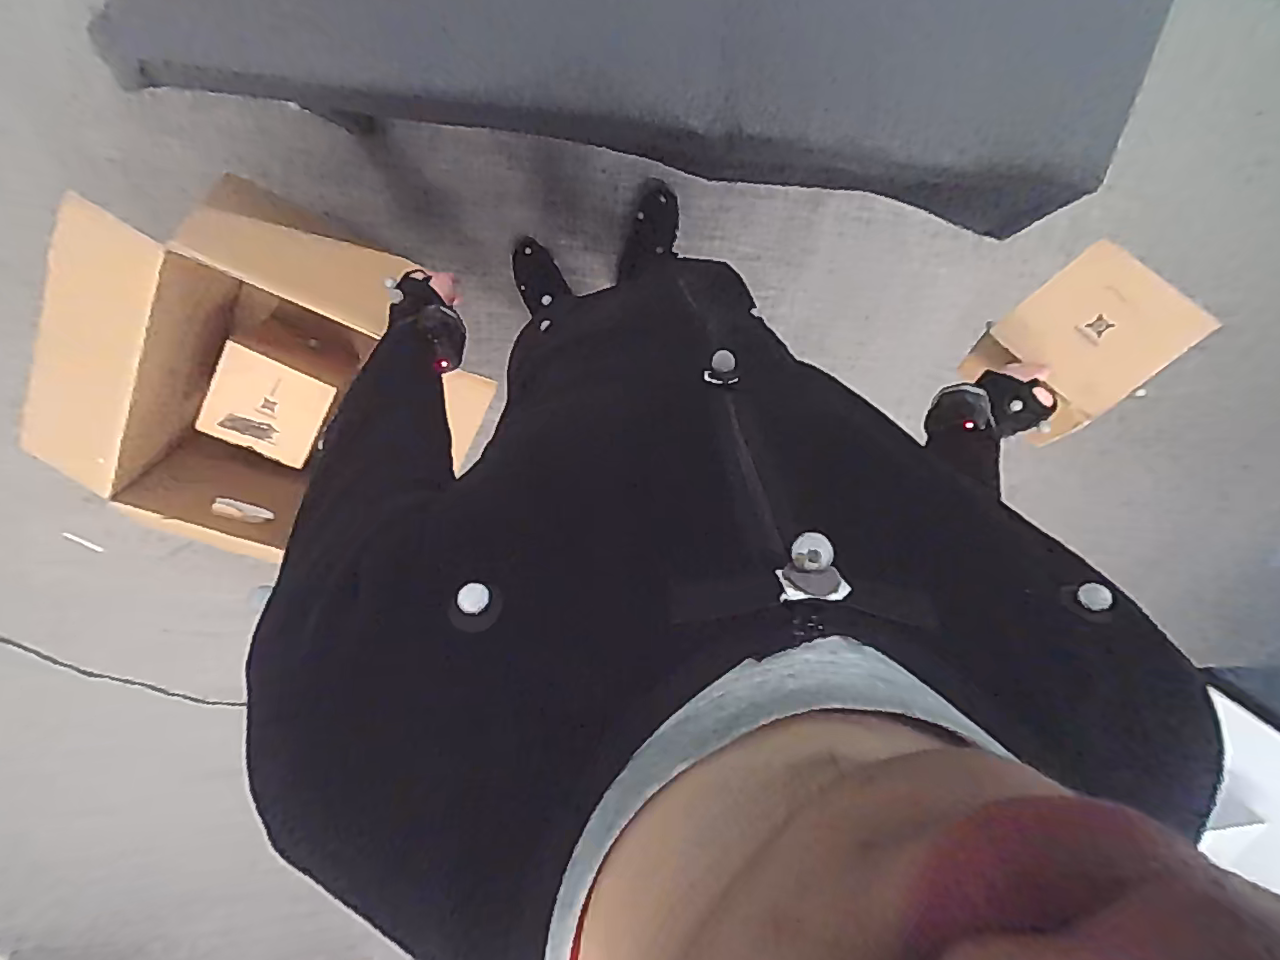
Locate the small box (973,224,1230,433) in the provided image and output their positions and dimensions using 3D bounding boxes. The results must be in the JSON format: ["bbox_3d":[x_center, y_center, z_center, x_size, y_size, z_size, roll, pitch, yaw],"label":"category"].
[{"bbox_3d":[0.582,-0.185,0.720,0.179,0.176,0.168,-41,73,9],"label":"small box"}]
